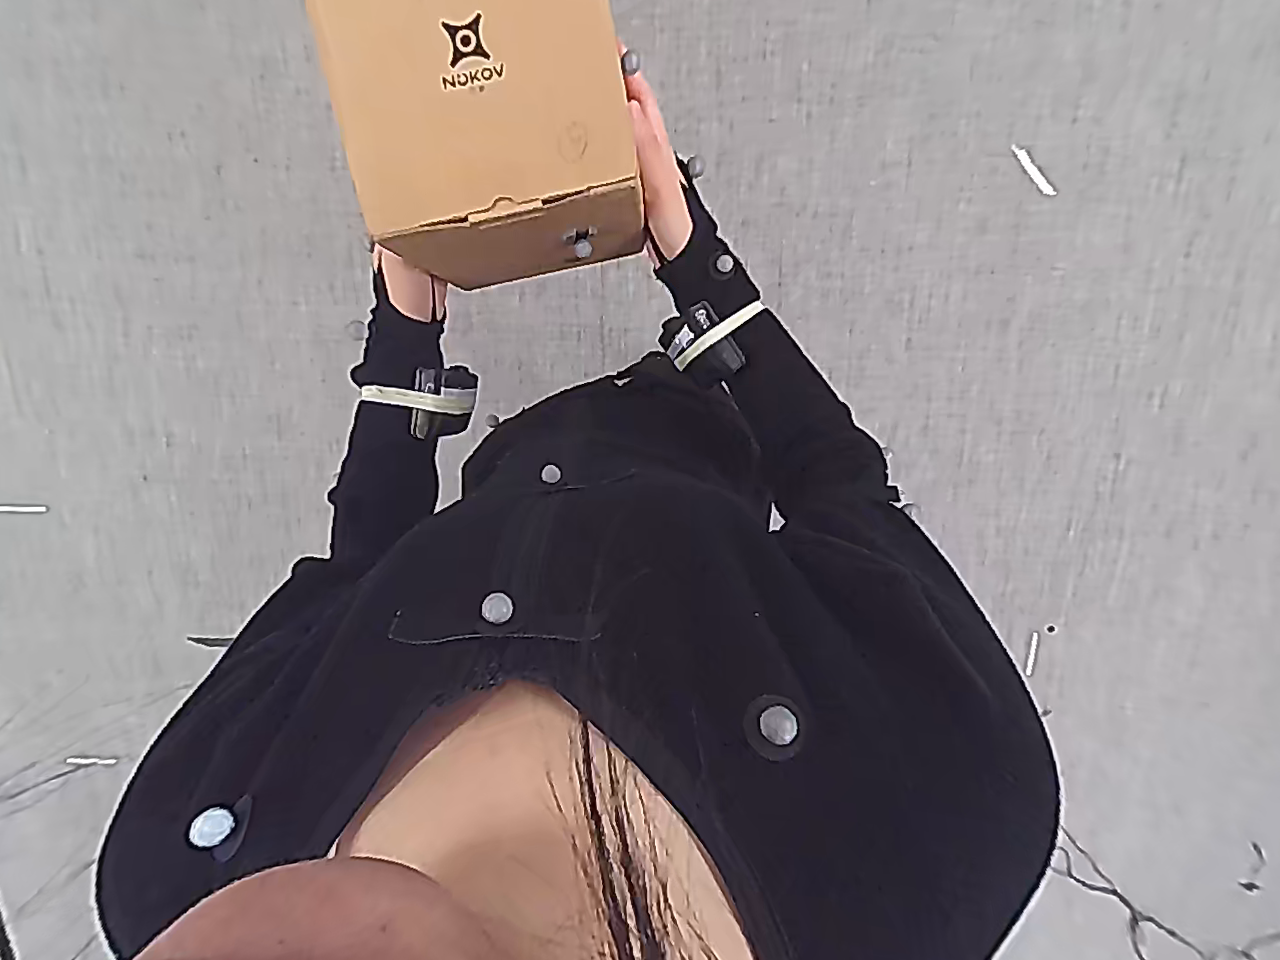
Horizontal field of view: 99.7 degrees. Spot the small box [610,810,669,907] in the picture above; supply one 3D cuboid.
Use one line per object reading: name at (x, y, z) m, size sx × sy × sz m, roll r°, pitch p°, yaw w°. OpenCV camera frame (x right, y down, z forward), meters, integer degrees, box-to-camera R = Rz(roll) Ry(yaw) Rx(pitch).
small box at (-0.002, 1.149, 1.646) m, size 0.168 × 0.176 × 0.179 m, roll 2°, pitch 103°, yaw -1°
